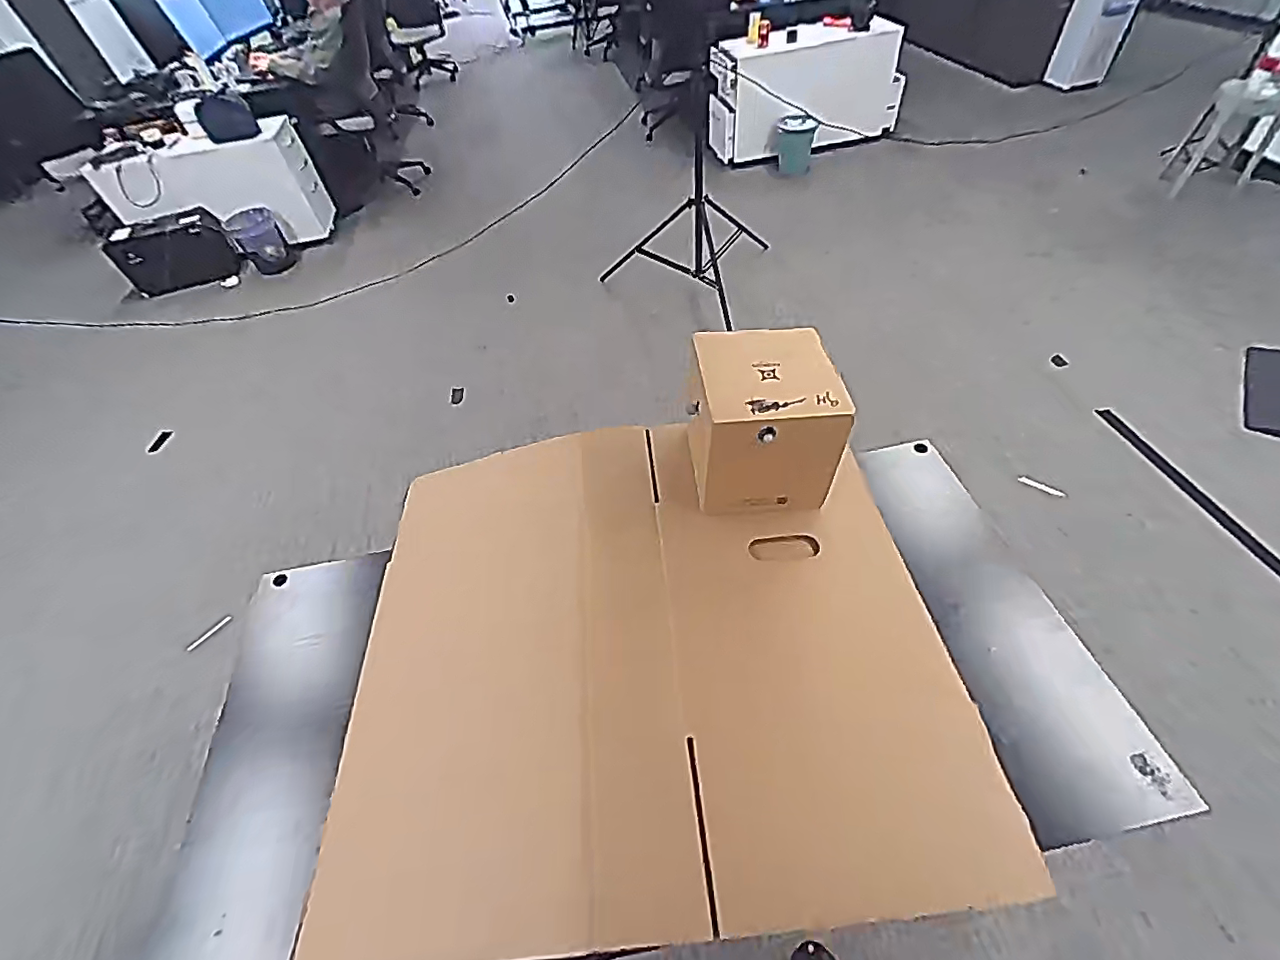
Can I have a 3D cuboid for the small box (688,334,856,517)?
[{"bbox_3d":[0.156,-0.072,0.715,0.168,0.176,0.179,-4,47,-2],"label":"small box"}]
